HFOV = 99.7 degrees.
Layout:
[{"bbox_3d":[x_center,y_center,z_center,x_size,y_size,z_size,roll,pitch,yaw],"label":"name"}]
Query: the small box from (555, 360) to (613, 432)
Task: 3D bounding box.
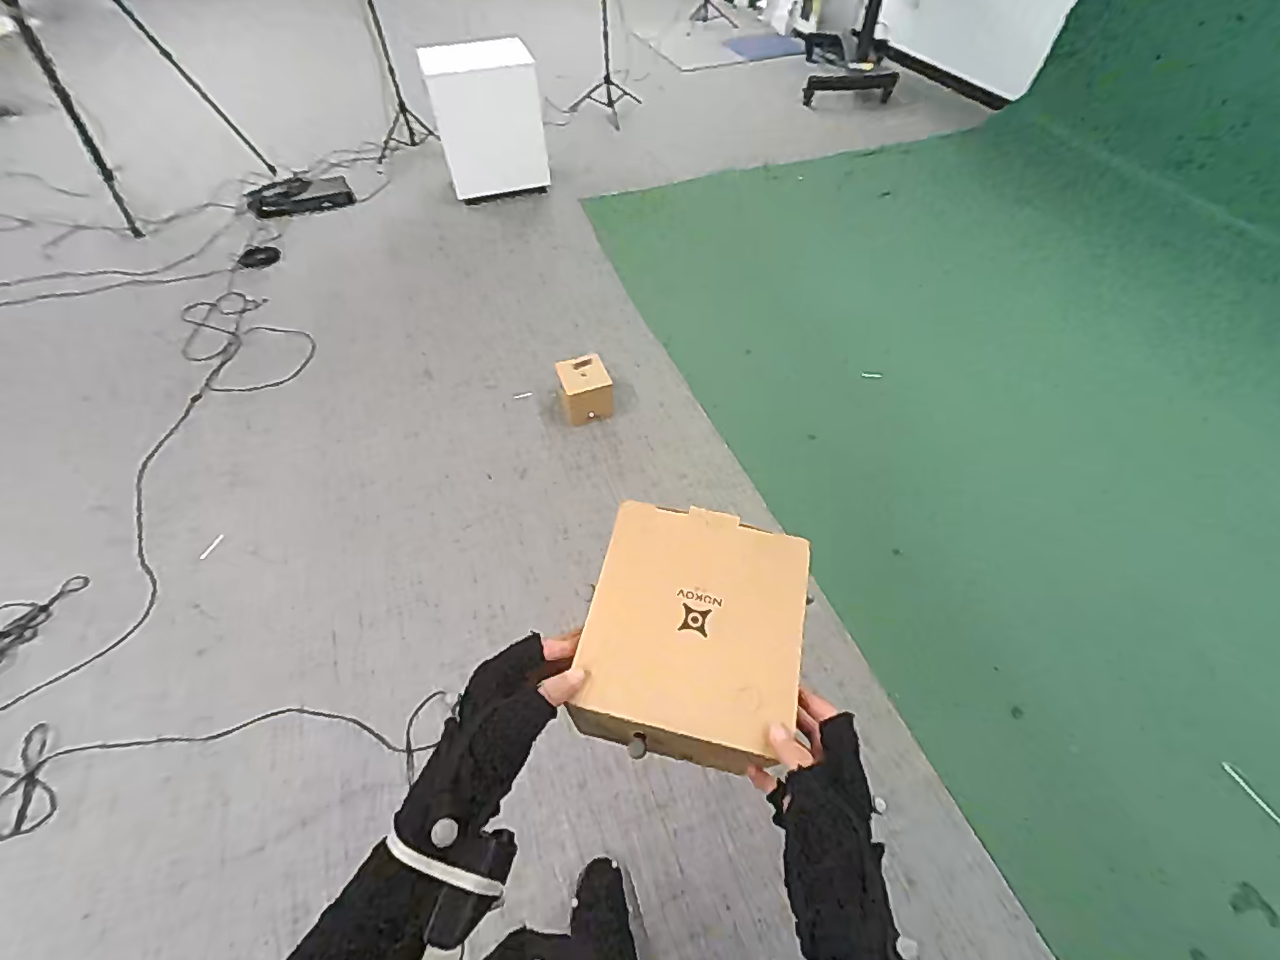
[{"bbox_3d":[-0.203,-0.305,1.967,0.168,0.176,0.179,-17,56,-13],"label":"small box"}]
